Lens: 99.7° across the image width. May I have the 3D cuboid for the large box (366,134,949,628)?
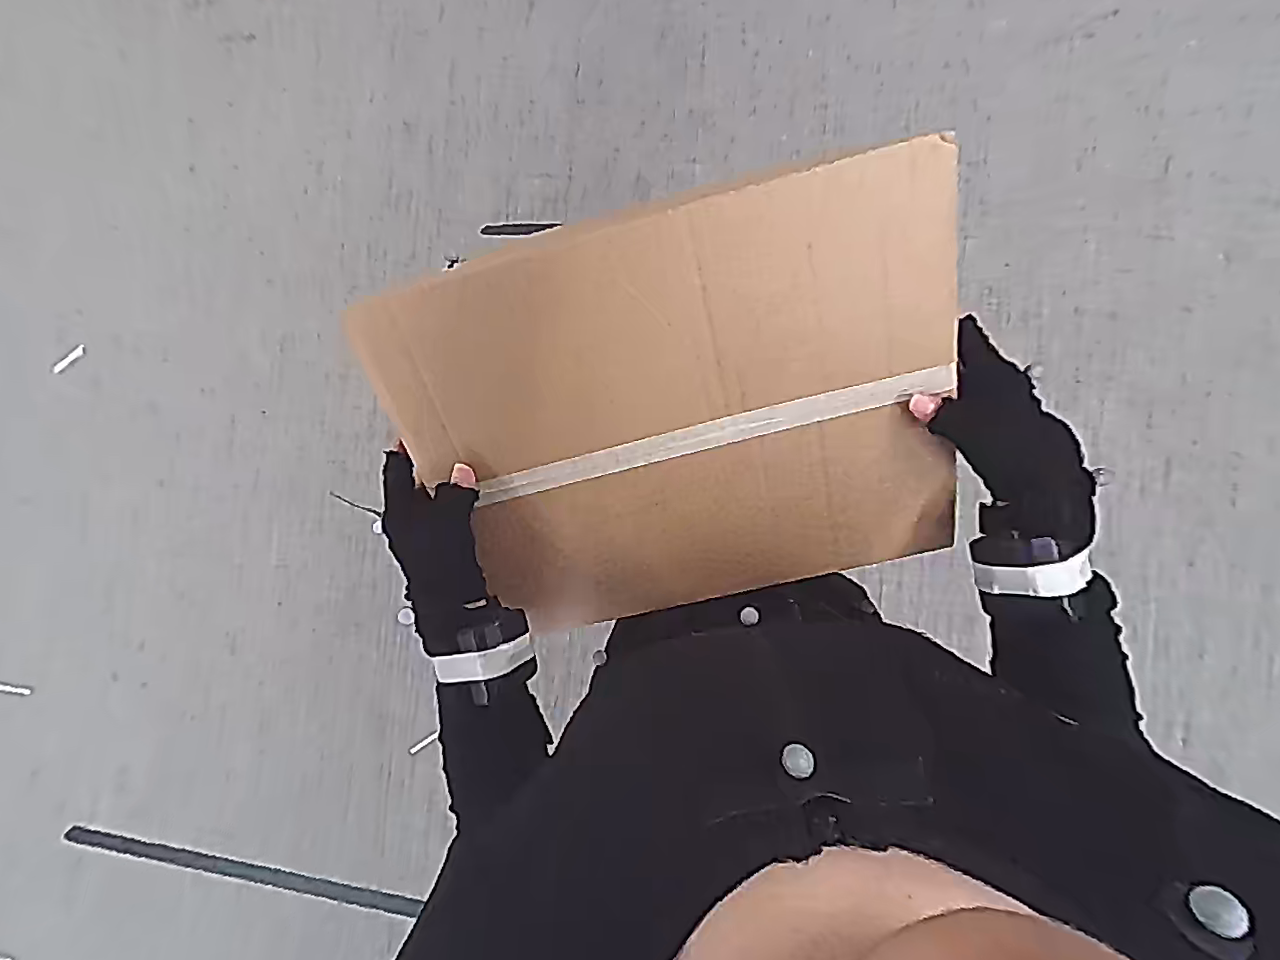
[{"bbox_3d":[0.032,-0.104,0.553,0.408,0.320,0.320,-13,118,6],"label":"large box"}]
